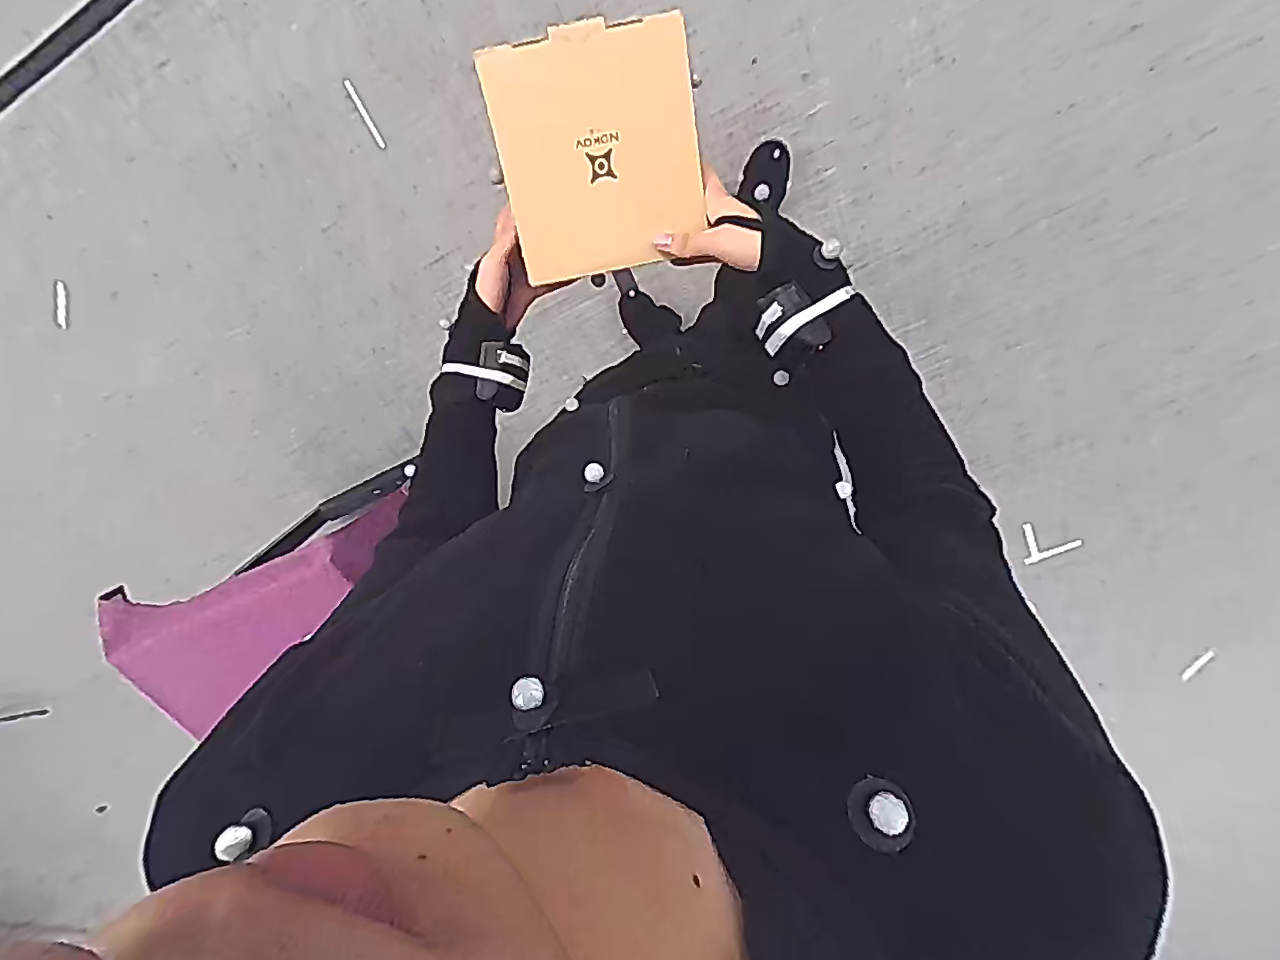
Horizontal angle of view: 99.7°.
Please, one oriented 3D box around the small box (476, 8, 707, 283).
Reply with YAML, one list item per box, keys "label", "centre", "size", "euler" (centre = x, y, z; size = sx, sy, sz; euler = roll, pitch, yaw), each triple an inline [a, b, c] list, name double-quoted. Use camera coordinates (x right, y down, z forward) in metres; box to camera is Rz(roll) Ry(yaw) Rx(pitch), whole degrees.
- label: "small box"
  centre: [-0.037, -0.300, 0.519]
  size: [0.168, 0.176, 0.179]
  euler: [-11, 113, 1]
